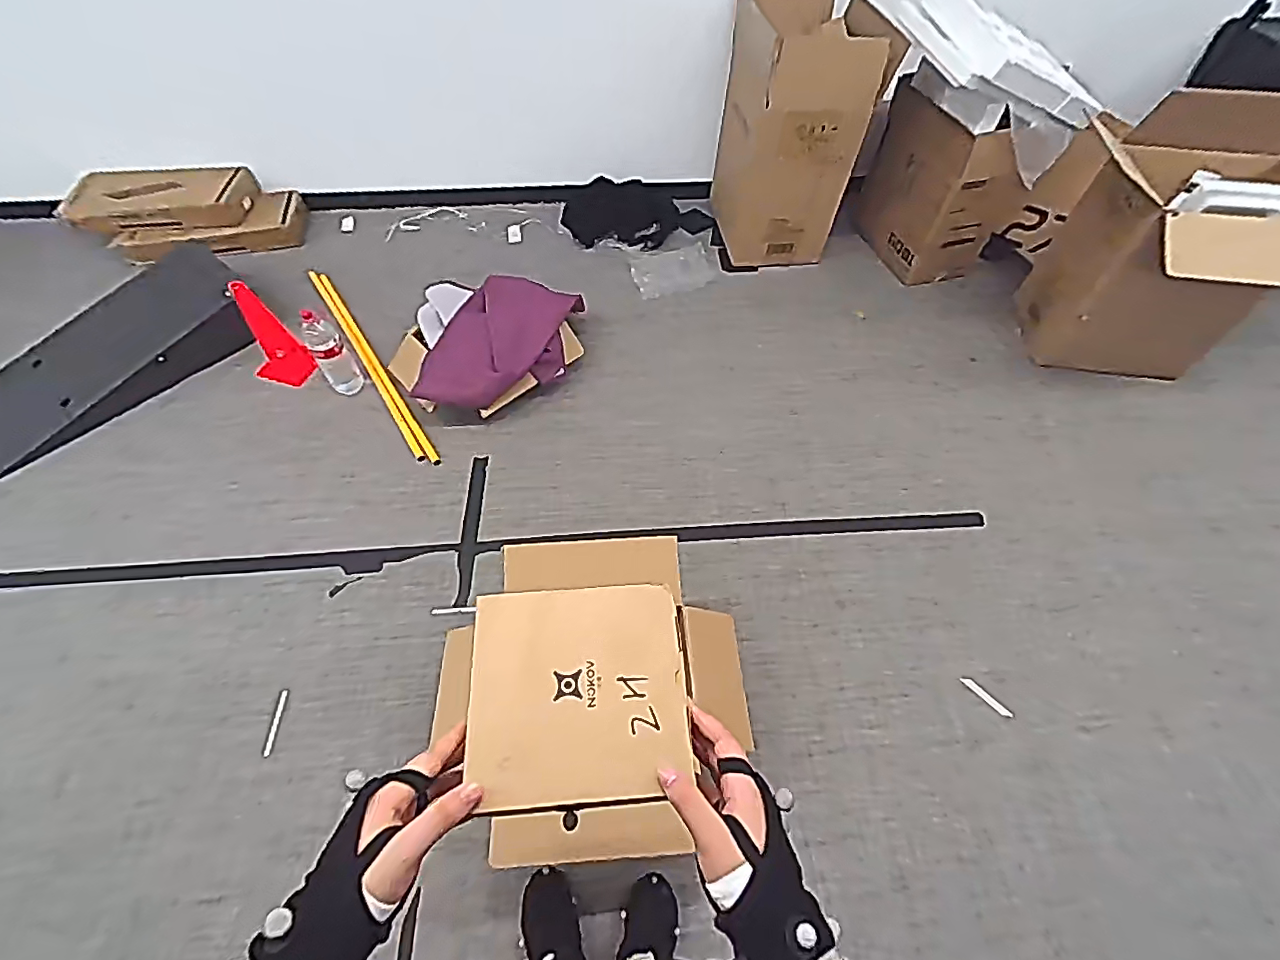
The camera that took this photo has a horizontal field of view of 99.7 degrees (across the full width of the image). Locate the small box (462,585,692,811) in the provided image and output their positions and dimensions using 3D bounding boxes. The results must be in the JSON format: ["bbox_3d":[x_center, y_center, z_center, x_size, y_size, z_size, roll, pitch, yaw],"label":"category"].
[{"bbox_3d":[-0.054,0.211,0.513,0.179,0.176,0.168,-3,59,-5],"label":"small box"}]
